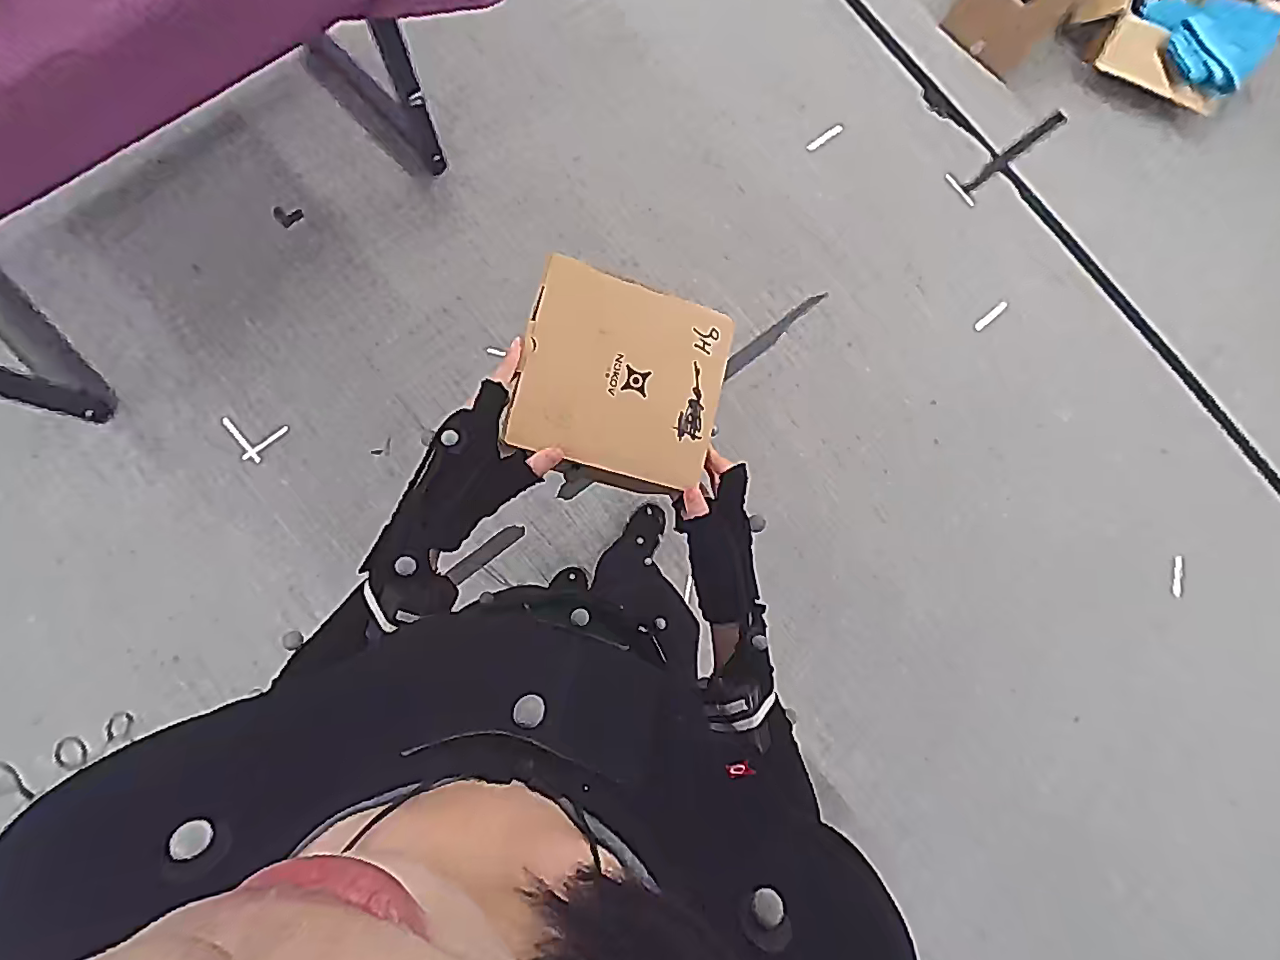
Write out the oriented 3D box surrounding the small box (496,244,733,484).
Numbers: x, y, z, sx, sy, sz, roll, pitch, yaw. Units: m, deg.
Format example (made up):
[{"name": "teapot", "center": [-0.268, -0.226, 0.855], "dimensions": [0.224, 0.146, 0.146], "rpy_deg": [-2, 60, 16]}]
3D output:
[{"name": "small box", "center": [-0.036, -0.093, 0.532], "dimensions": [0.179, 0.176, 0.168], "rpy_deg": [14, 84, -14]}]
